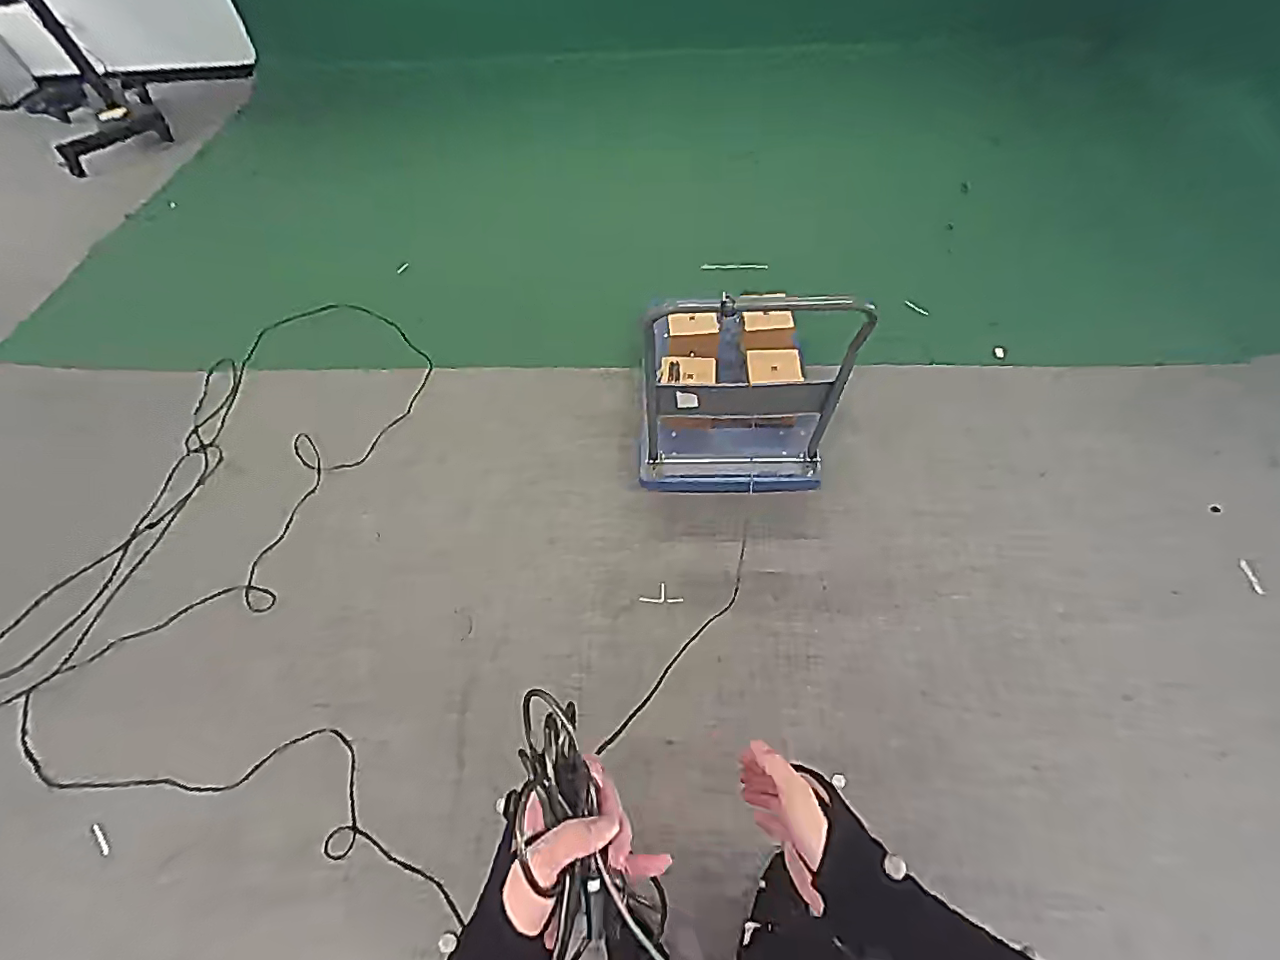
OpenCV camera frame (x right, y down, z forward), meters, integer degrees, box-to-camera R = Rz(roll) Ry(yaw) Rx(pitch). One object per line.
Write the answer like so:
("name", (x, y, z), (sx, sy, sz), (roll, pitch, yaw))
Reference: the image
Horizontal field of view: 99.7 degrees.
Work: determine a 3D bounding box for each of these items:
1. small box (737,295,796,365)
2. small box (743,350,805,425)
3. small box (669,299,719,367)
("small box", (0.439, -0.528, 1.909), (0.168, 0.176, 0.179), (-3, 58, 2))
("small box", (0.429, -0.301, 1.763), (0.168, 0.176, 0.179), (1, 58, 4))
("small box", (0.188, -0.514, 1.915), (0.168, 0.176, 0.179), (-2, 57, 1))
